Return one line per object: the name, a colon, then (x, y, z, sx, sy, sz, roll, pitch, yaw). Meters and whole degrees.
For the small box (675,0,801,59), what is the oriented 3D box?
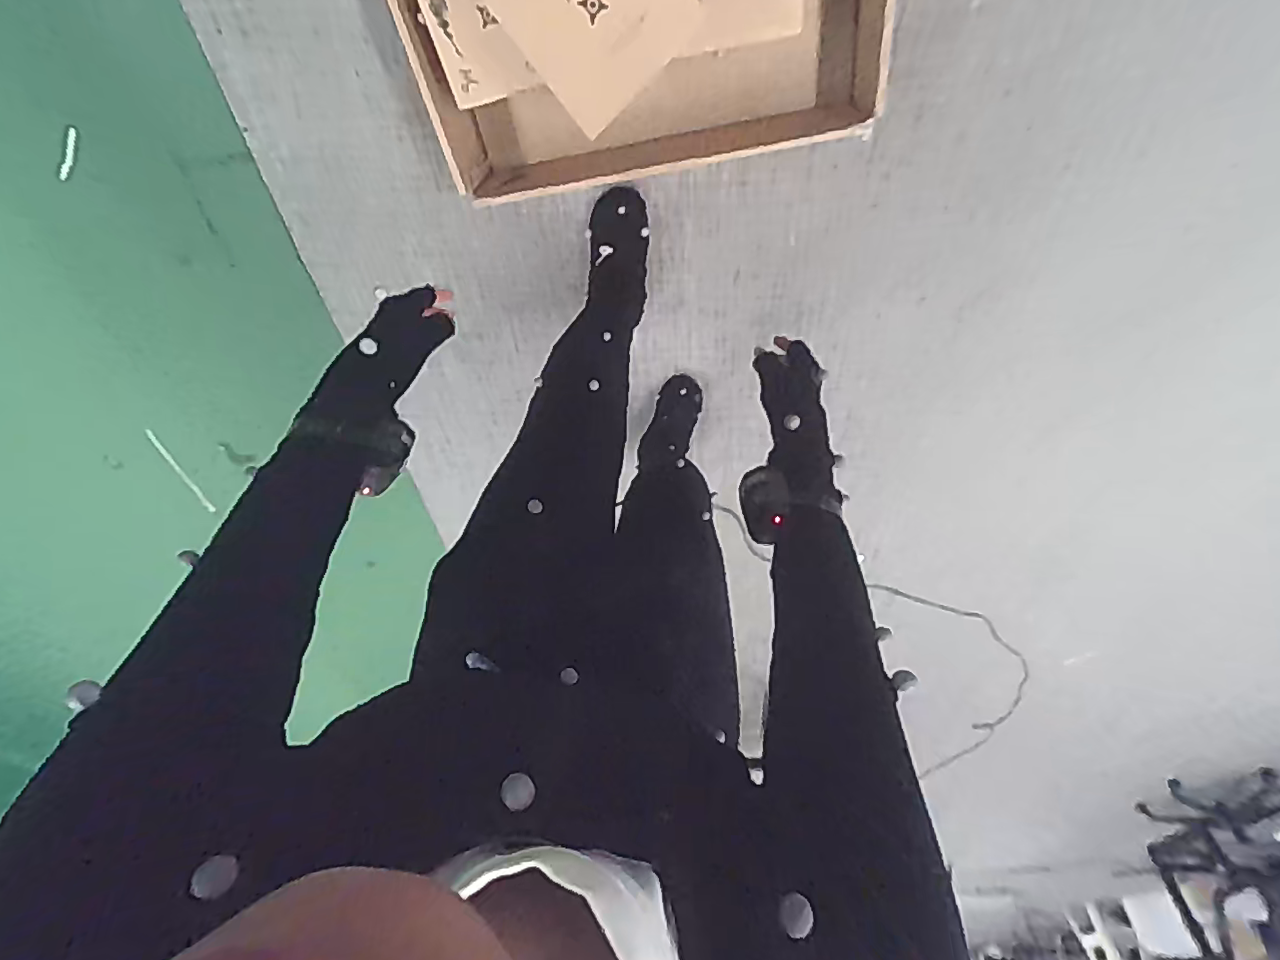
small box: (0.104, -0.651, 0.679, 0.179, 0.176, 0.168, -5, 133, 8)

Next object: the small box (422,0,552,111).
small box: (-0.172, -0.623, 0.722, 0.179, 0.176, 0.168, -9, 132, 9)

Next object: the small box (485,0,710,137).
small box: (-0.044, -0.524, 0.588, 0.168, 0.176, 0.179, -30, 126, 28)
